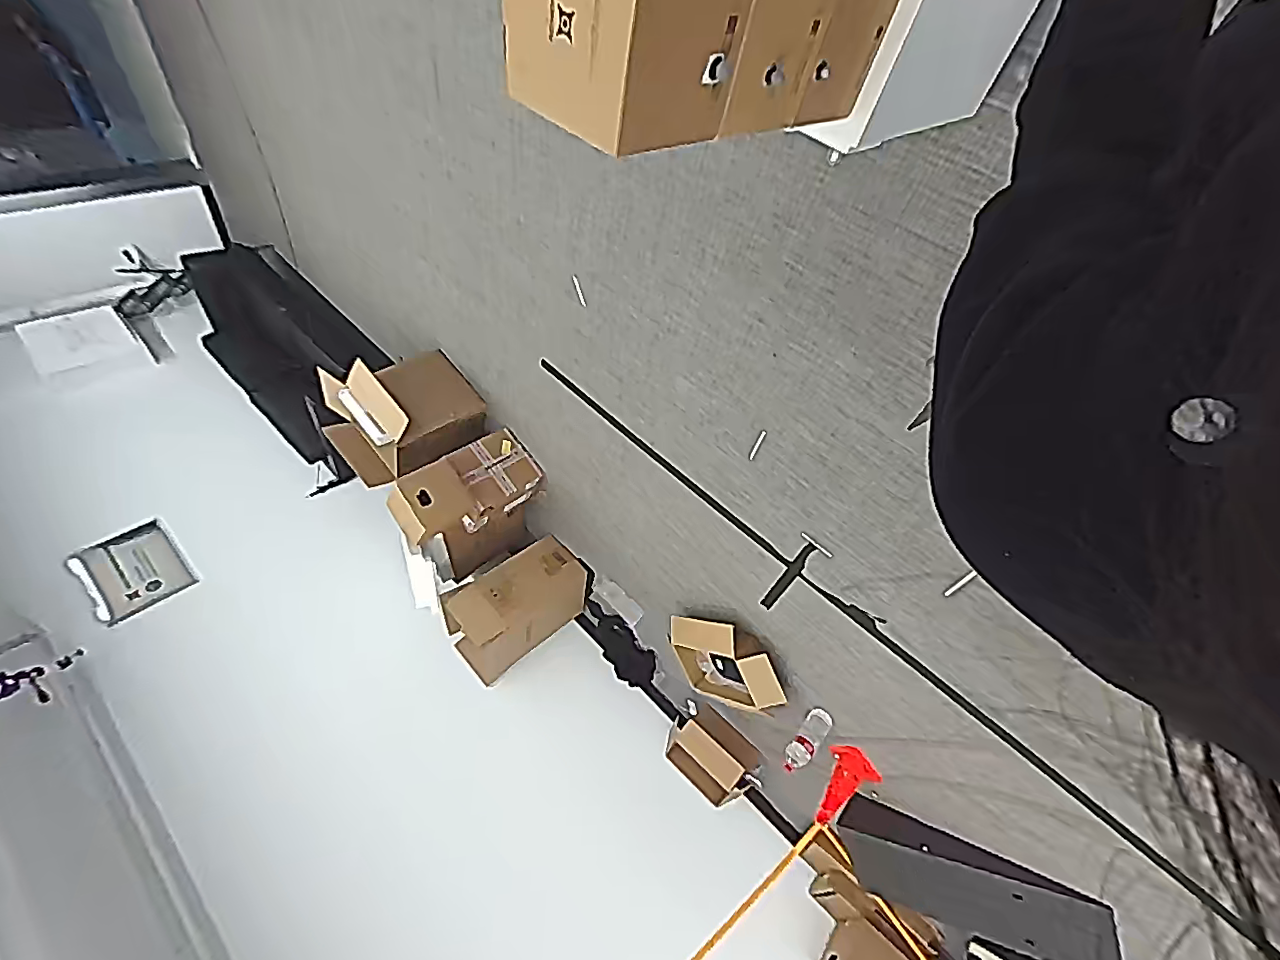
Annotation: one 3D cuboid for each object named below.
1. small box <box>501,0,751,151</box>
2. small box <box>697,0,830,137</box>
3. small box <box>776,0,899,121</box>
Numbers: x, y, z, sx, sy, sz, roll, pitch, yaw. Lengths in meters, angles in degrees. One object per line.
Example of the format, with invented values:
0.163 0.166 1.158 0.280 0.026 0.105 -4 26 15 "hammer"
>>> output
-0.017 -0.452 0.528 0.179 0.176 0.168 40 144 21 "small box"
0.095 -0.526 0.620 0.179 0.176 0.168 41 144 21 "small box"
0.204 -0.603 0.711 0.179 0.176 0.168 43 145 20 "small box"
